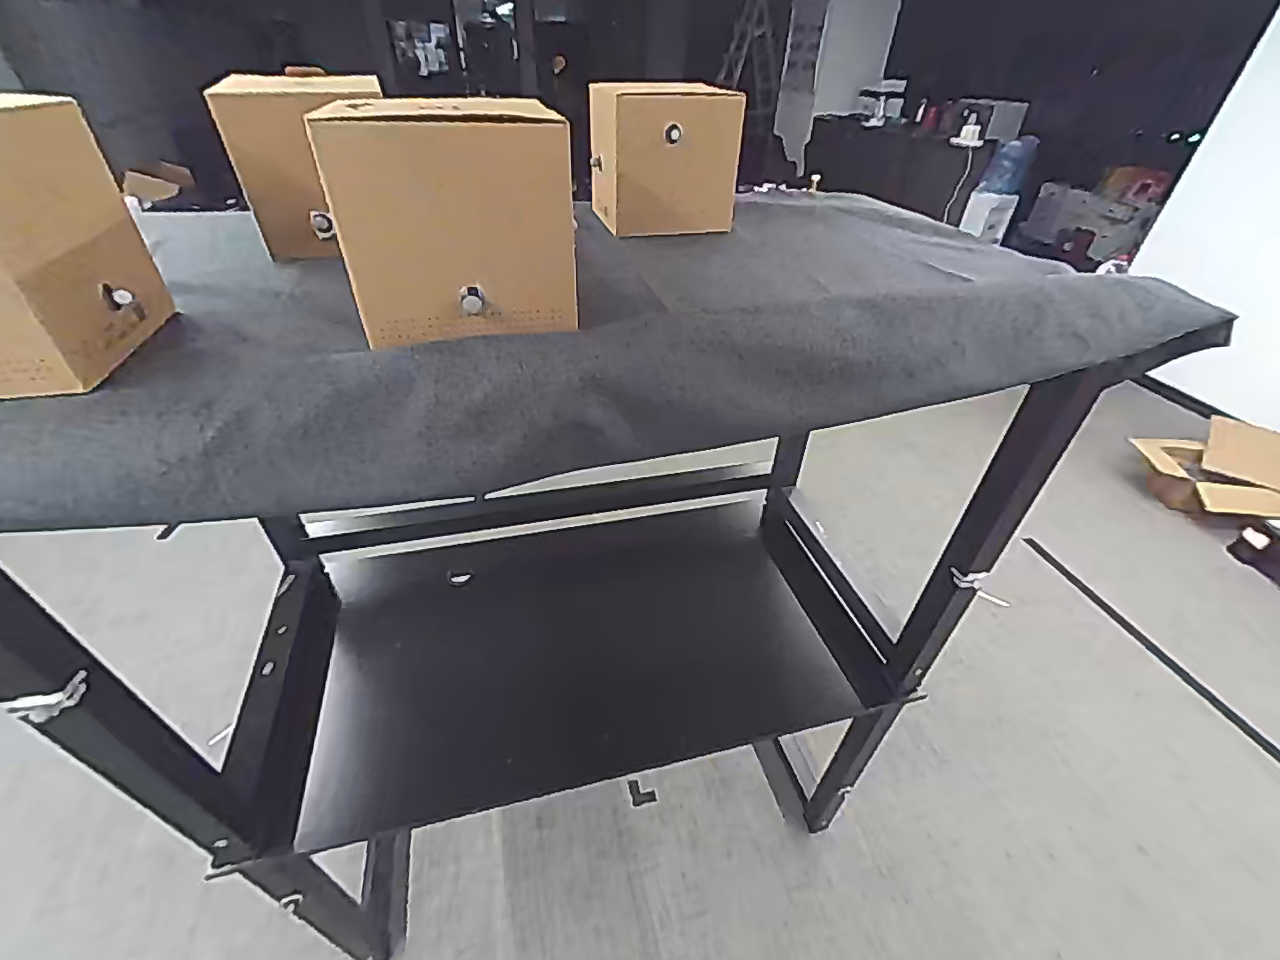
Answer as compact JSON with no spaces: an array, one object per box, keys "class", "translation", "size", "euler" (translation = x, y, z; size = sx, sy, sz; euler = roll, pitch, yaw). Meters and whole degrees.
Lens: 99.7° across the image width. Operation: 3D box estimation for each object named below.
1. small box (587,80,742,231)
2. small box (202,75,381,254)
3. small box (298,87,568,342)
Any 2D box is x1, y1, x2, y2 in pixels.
[{"class":"small box","translation":[0.027,-0.464,0.774],"size":[0.179,0.176,0.168],"euler":[-8,40,-12]},{"class":"small box","translation":[-0.385,-0.388,0.663],"size":[0.168,0.176,0.179],"euler":[-14,41,-17]},{"class":"small box","translation":[-0.160,-0.233,0.474],"size":[0.179,0.176,0.168],"euler":[-8,38,-14]}]
